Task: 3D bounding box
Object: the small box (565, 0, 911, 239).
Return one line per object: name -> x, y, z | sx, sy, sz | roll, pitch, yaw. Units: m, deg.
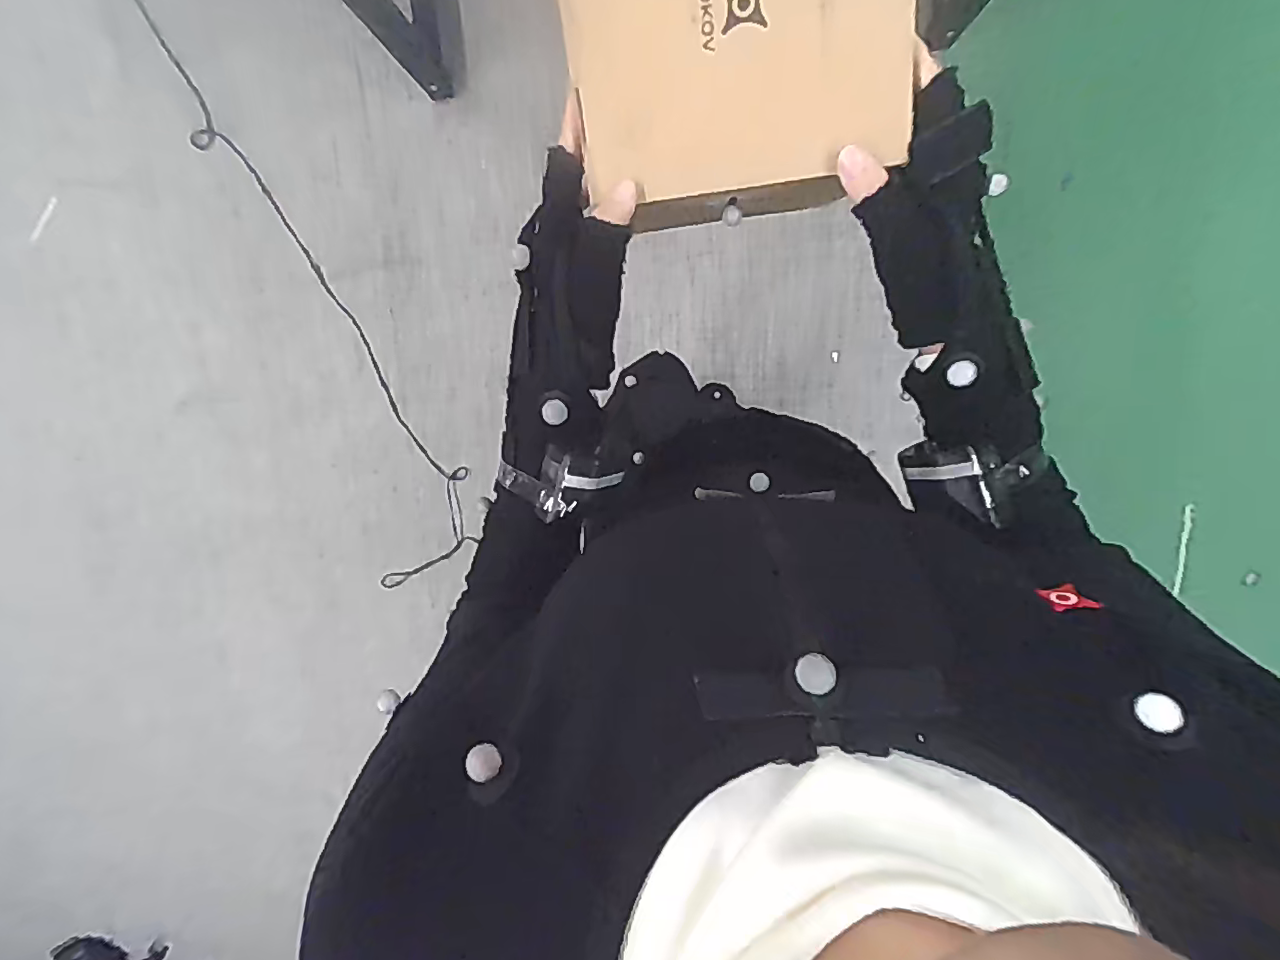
small box -> 0.055, -0.263, 0.356 | 0.179, 0.176, 0.168 | -7, 110, 5
